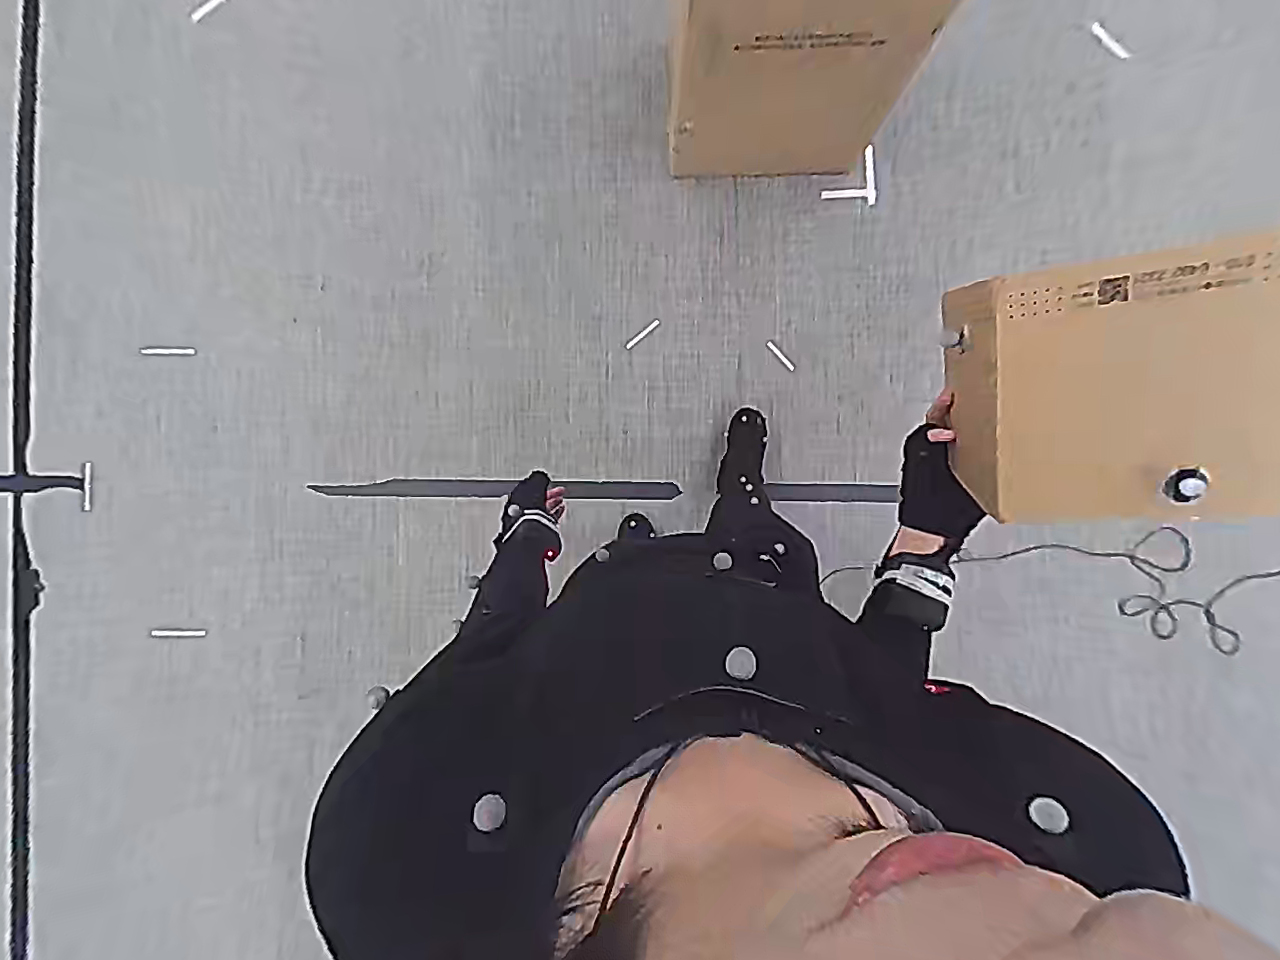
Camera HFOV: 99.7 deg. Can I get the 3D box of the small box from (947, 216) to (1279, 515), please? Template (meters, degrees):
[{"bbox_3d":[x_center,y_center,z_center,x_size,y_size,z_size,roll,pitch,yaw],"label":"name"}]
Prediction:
[{"bbox_3d":[0.336,-0.082,0.399,0.168,0.179,0.176,-4,103,21],"label":"small box"}]
